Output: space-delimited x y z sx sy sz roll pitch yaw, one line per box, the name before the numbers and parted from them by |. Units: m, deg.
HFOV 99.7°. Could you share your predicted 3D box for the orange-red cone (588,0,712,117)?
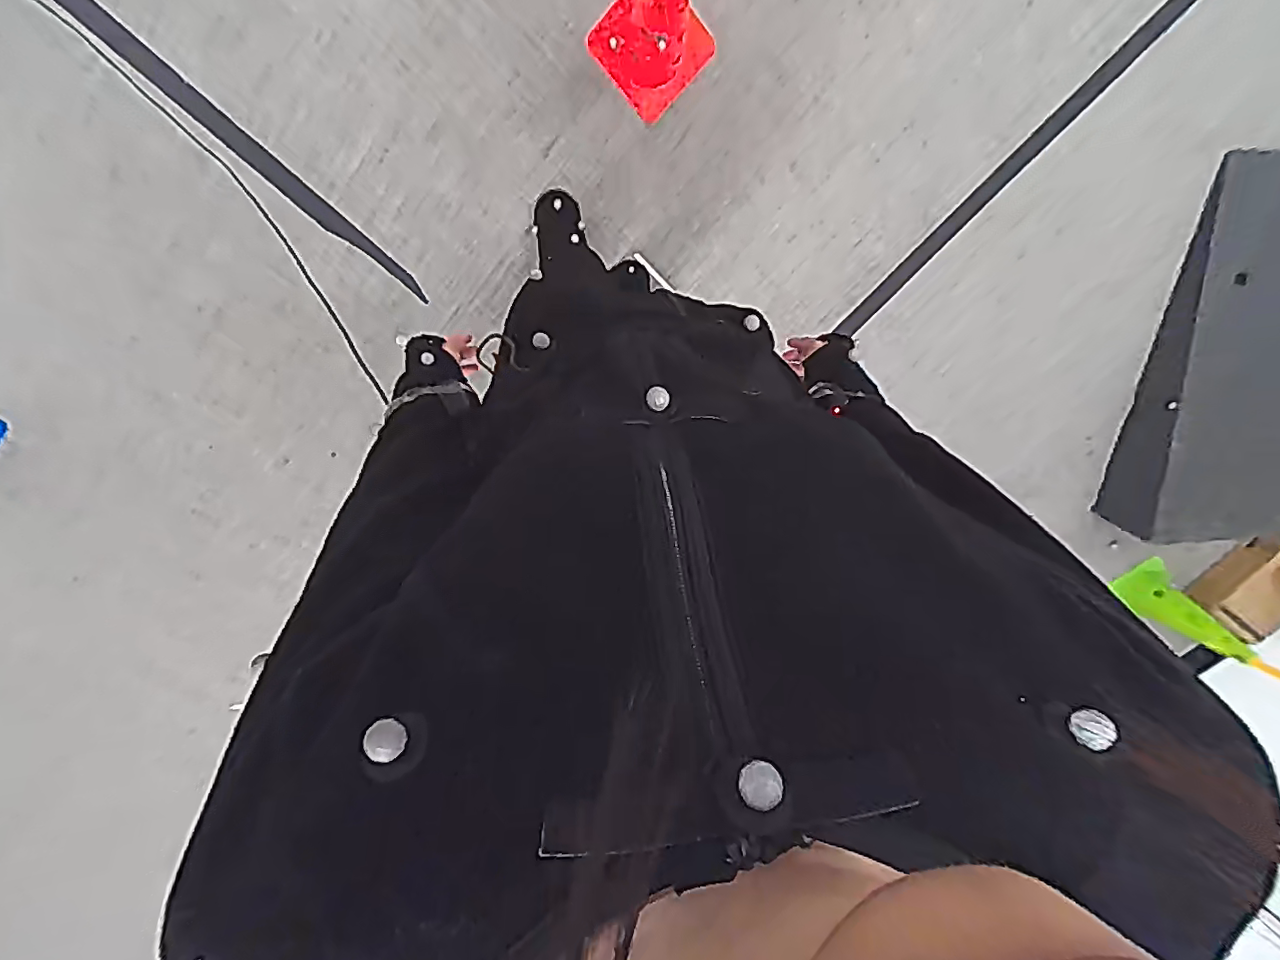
orange-red cone | 0.038 -0.803 0.927 0.198 0.360 0.199 -41 113 13
